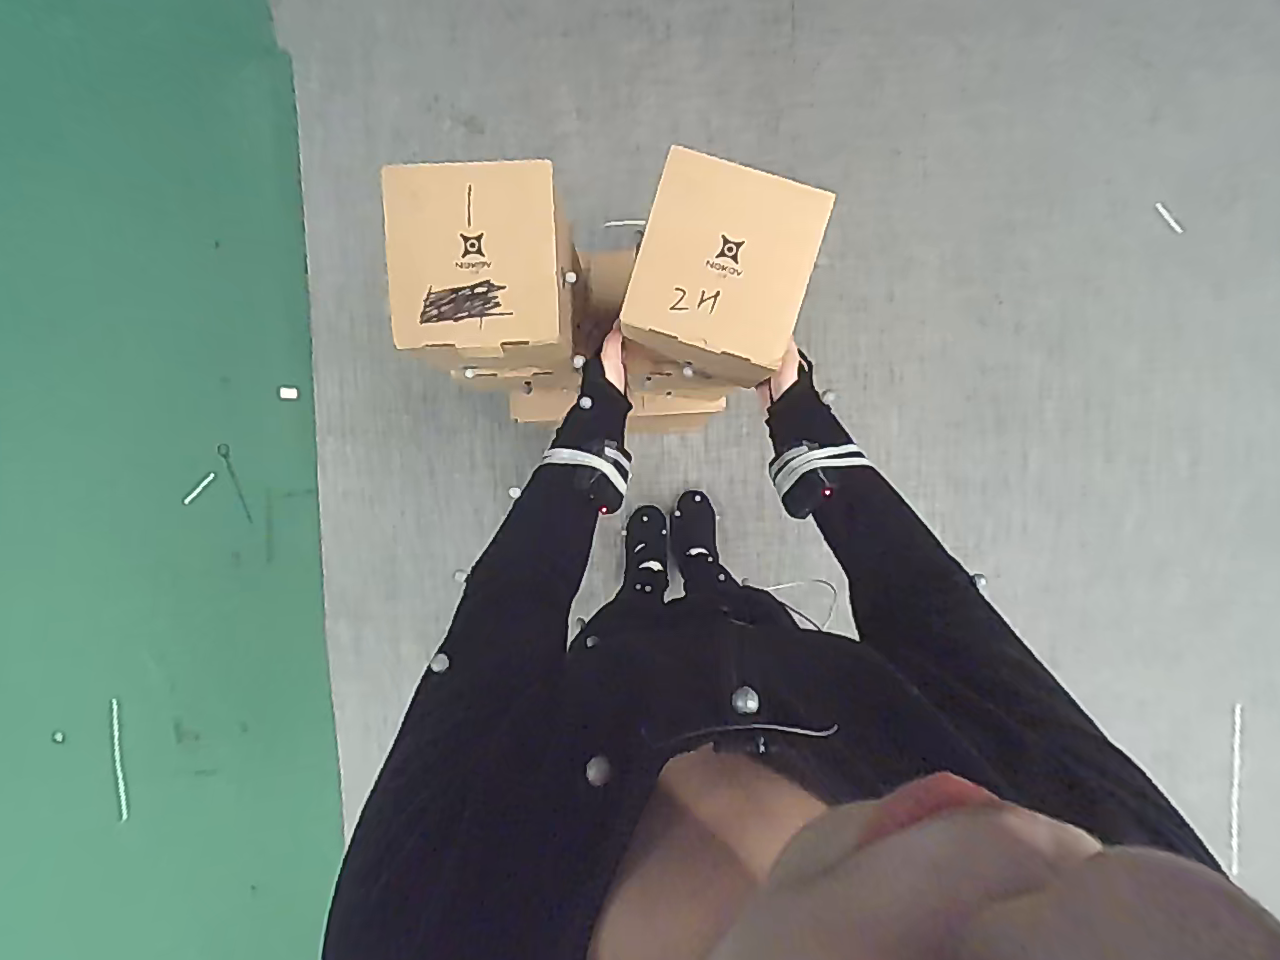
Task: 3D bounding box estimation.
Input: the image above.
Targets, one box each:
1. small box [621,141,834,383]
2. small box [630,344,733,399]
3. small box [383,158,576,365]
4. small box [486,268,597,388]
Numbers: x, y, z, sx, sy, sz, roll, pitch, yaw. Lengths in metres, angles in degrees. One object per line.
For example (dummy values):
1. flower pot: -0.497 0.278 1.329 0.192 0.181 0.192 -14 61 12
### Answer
1. small box: 0.083 -0.220 0.594 0.168 0.176 0.179 17 94 1
2. small box: 0.073 -0.239 0.922 0.168 0.176 0.179 5 94 2
3. small box: -0.163 -0.225 0.603 0.168 0.176 0.179 -2 93 -1
4. small box: -0.162 -0.251 0.930 0.168 0.176 0.179 0 94 0
